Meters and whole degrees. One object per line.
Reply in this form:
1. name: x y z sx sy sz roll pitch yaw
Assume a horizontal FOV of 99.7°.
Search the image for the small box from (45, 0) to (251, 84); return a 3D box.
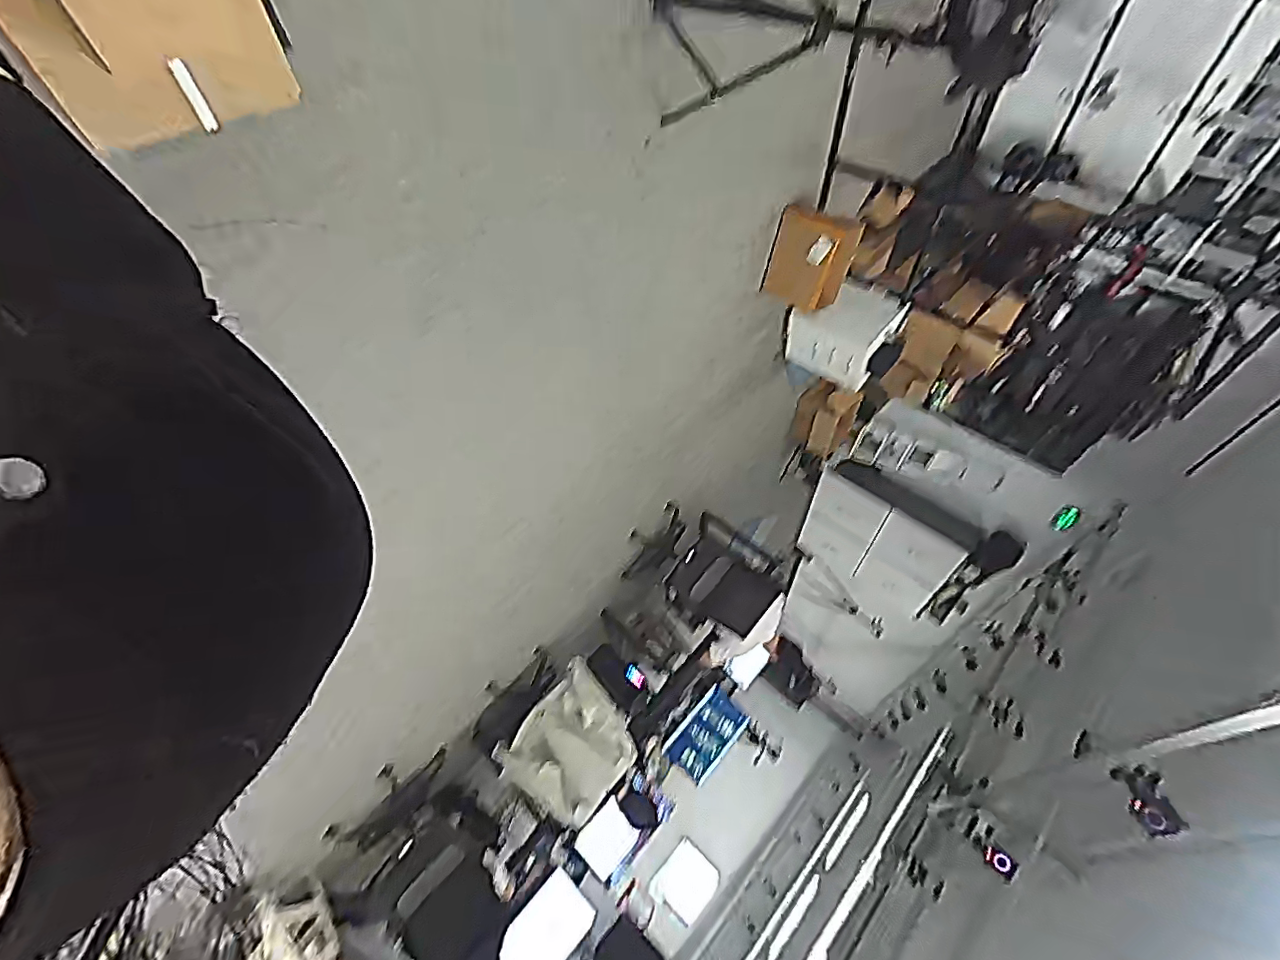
1. small box: -0.631 -0.617 0.650 0.168 0.176 0.179 -40 151 -23
